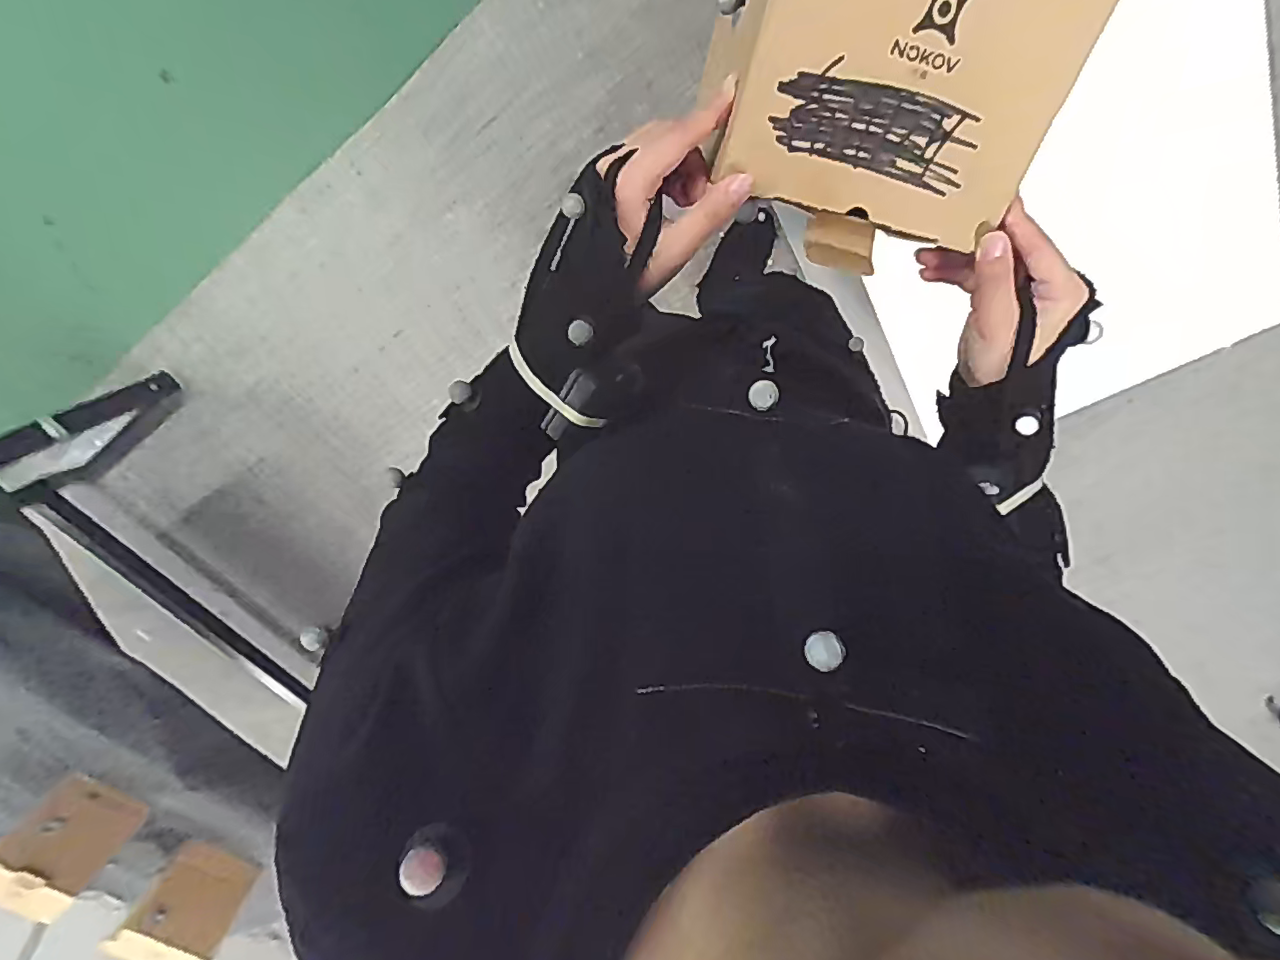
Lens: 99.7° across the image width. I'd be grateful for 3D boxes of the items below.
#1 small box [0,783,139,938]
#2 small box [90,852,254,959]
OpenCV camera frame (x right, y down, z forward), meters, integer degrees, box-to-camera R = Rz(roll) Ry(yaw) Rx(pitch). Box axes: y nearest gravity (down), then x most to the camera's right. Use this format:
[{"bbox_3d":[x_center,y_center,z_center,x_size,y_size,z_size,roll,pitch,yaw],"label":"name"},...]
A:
[{"bbox_3d":[-1.111,0.709,1.017,0.179,0.176,0.168,-39,108,23],"label":"small box"},{"bbox_3d":[-0.950,0.908,1.110,0.179,0.176,0.168,42,114,-16],"label":"small box"}]
